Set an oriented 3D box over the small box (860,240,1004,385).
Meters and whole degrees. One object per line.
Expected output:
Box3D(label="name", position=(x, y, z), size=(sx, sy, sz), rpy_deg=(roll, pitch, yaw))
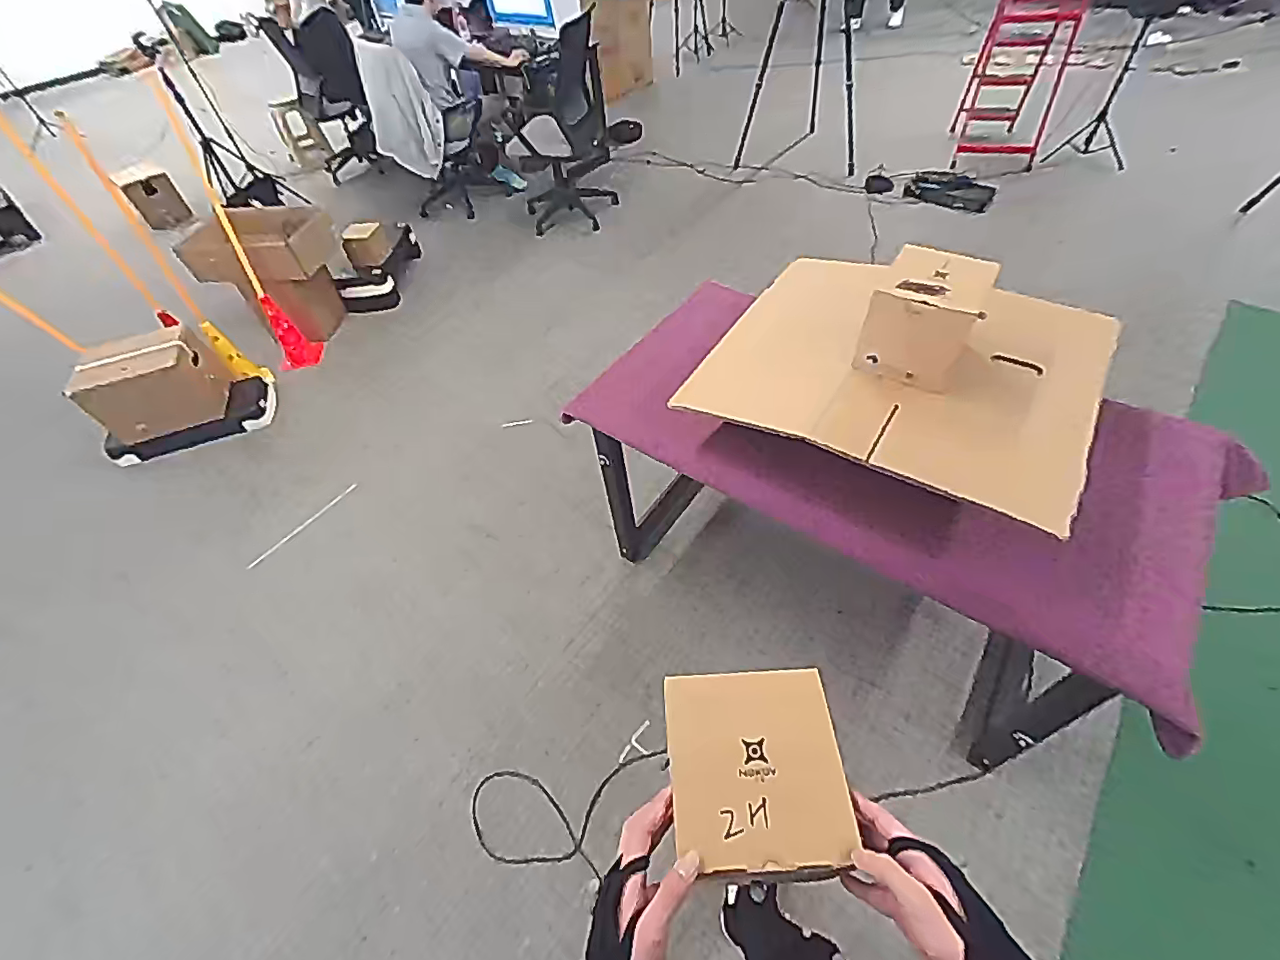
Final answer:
Box3D(label="small box", position=(0.518, -0.301, 0.980), size=(0.168, 0.176, 0.179), rpy_deg=(26, 57, 23))
